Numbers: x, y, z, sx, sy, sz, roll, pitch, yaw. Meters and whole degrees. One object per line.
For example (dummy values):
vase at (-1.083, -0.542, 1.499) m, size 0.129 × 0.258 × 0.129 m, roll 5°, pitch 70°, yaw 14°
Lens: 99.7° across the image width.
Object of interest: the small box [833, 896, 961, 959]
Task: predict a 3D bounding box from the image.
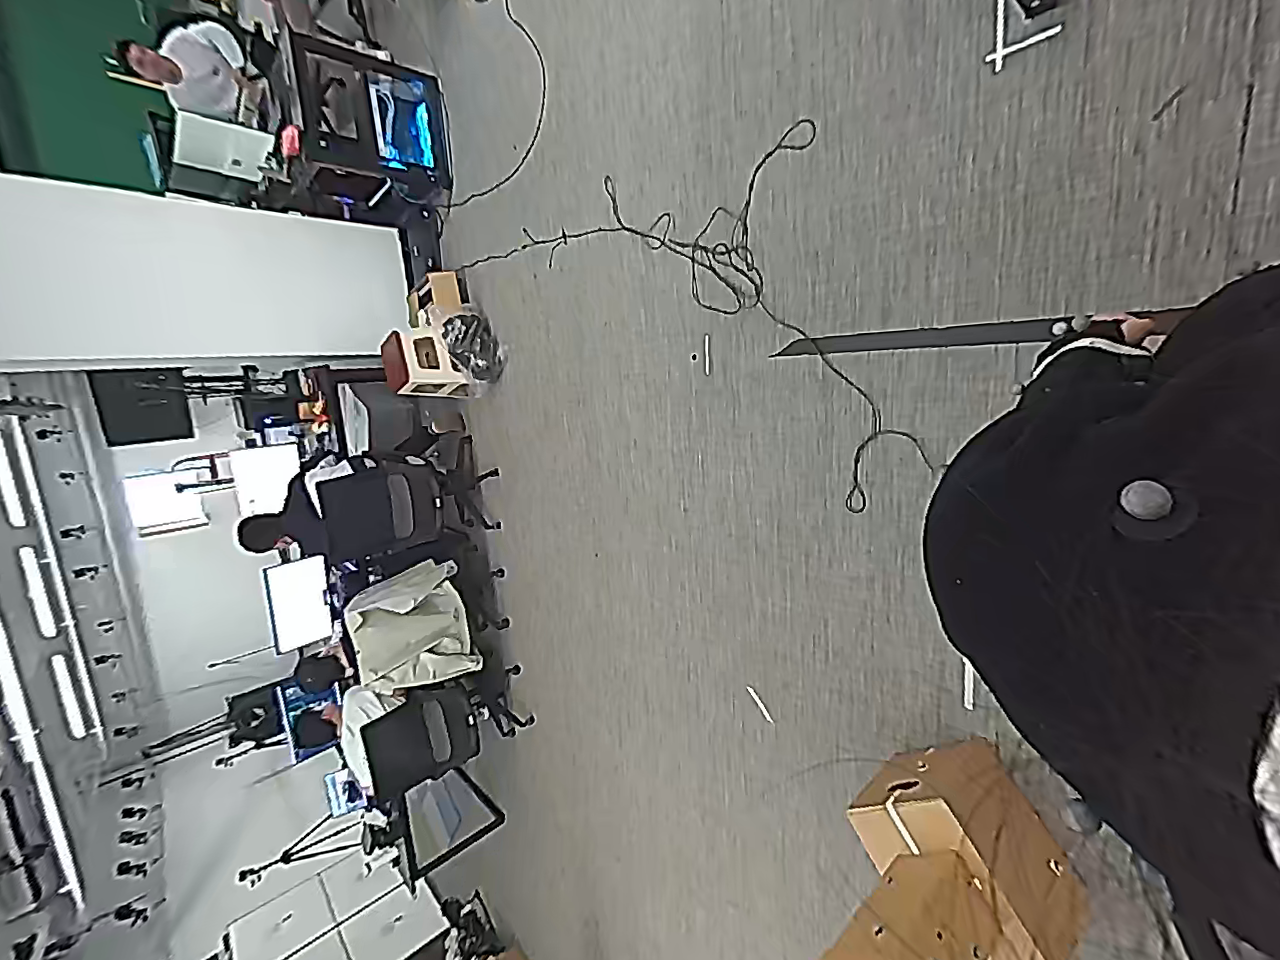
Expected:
small box at (0.556, 1.021, 1.146) m, size 0.179 × 0.176 × 0.168 m, roll -48°, pitch 63°, yaw 44°

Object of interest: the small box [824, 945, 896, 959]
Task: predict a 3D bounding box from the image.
small box at (0.433, 1.047, 1.042) m, size 0.179 × 0.176 × 0.168 m, roll -48°, pitch 64°, yaw 46°
